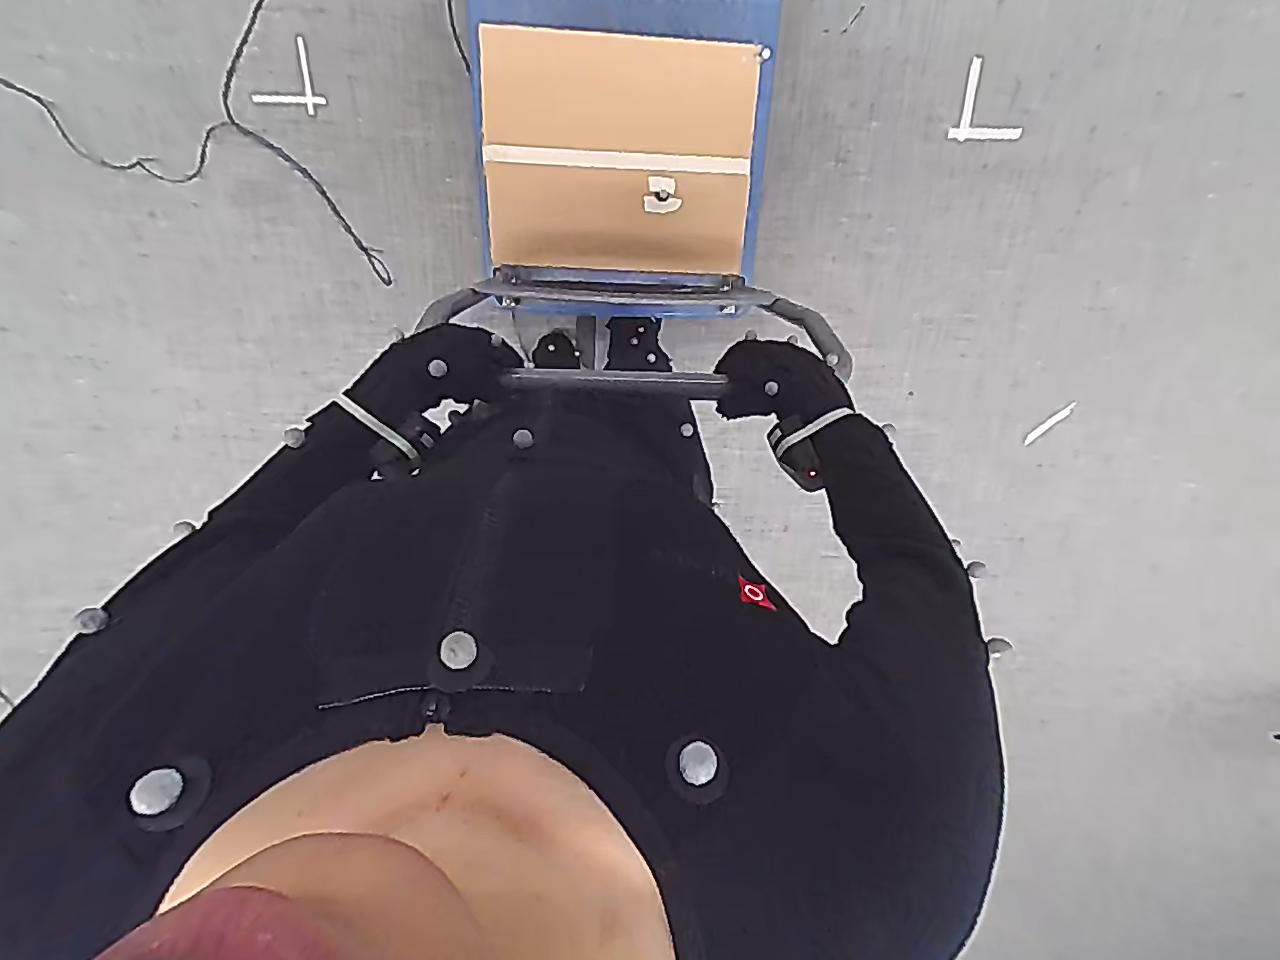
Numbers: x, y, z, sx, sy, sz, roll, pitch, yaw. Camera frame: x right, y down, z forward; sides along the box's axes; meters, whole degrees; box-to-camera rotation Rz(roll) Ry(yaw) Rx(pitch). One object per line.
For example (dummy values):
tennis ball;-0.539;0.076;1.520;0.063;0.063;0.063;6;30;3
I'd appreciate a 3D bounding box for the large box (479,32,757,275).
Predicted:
large box;-0.044;-0.534;0.958;0.408;0.320;0.320;0;112;-5
